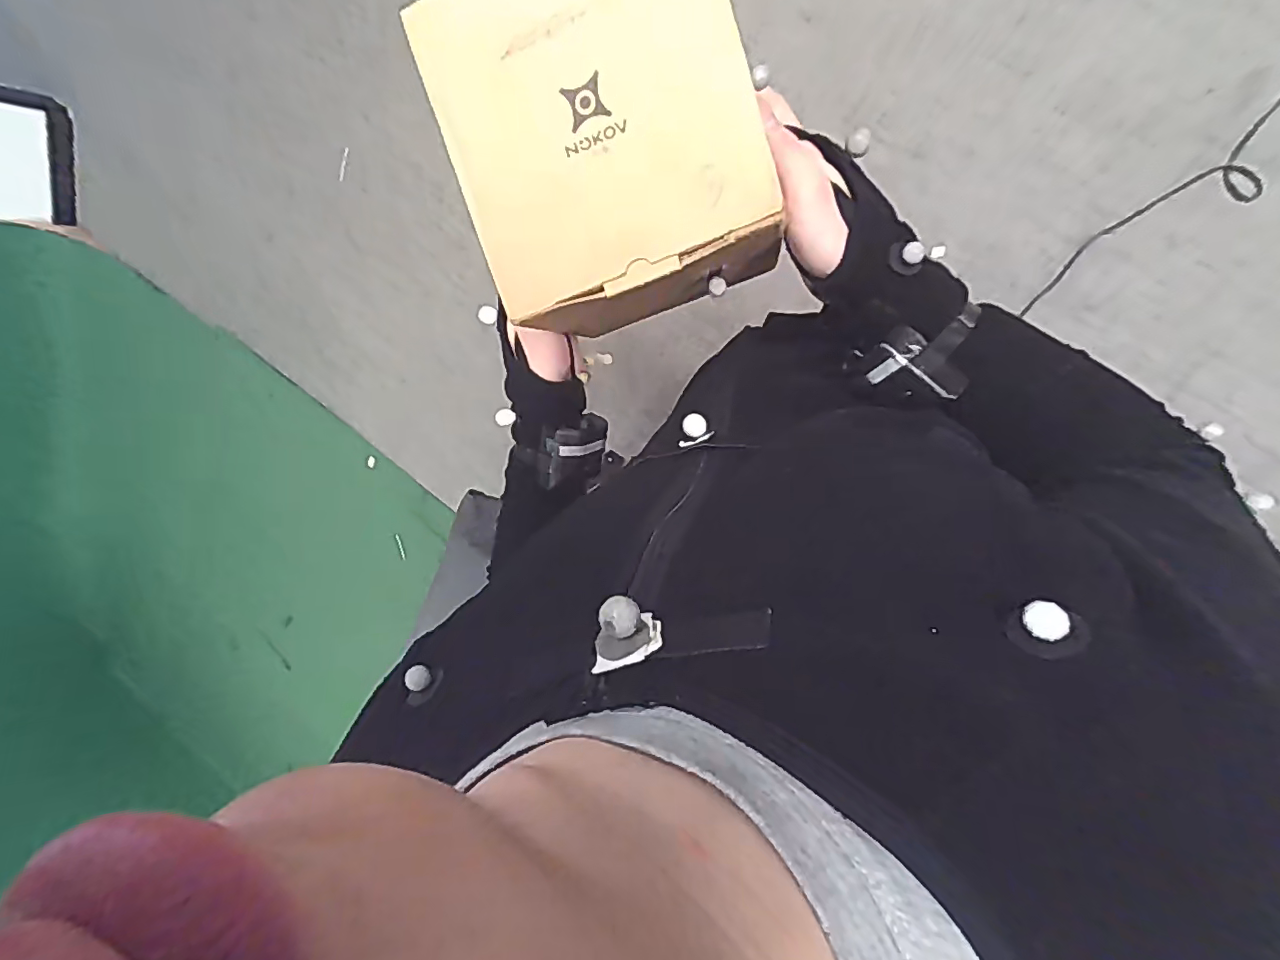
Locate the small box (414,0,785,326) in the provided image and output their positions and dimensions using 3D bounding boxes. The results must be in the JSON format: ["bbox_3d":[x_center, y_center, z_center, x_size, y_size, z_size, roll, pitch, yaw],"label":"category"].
[{"bbox_3d":[-0.008,-0.212,0.365,0.168,0.176,0.179,-16,97,13],"label":"small box"}]
